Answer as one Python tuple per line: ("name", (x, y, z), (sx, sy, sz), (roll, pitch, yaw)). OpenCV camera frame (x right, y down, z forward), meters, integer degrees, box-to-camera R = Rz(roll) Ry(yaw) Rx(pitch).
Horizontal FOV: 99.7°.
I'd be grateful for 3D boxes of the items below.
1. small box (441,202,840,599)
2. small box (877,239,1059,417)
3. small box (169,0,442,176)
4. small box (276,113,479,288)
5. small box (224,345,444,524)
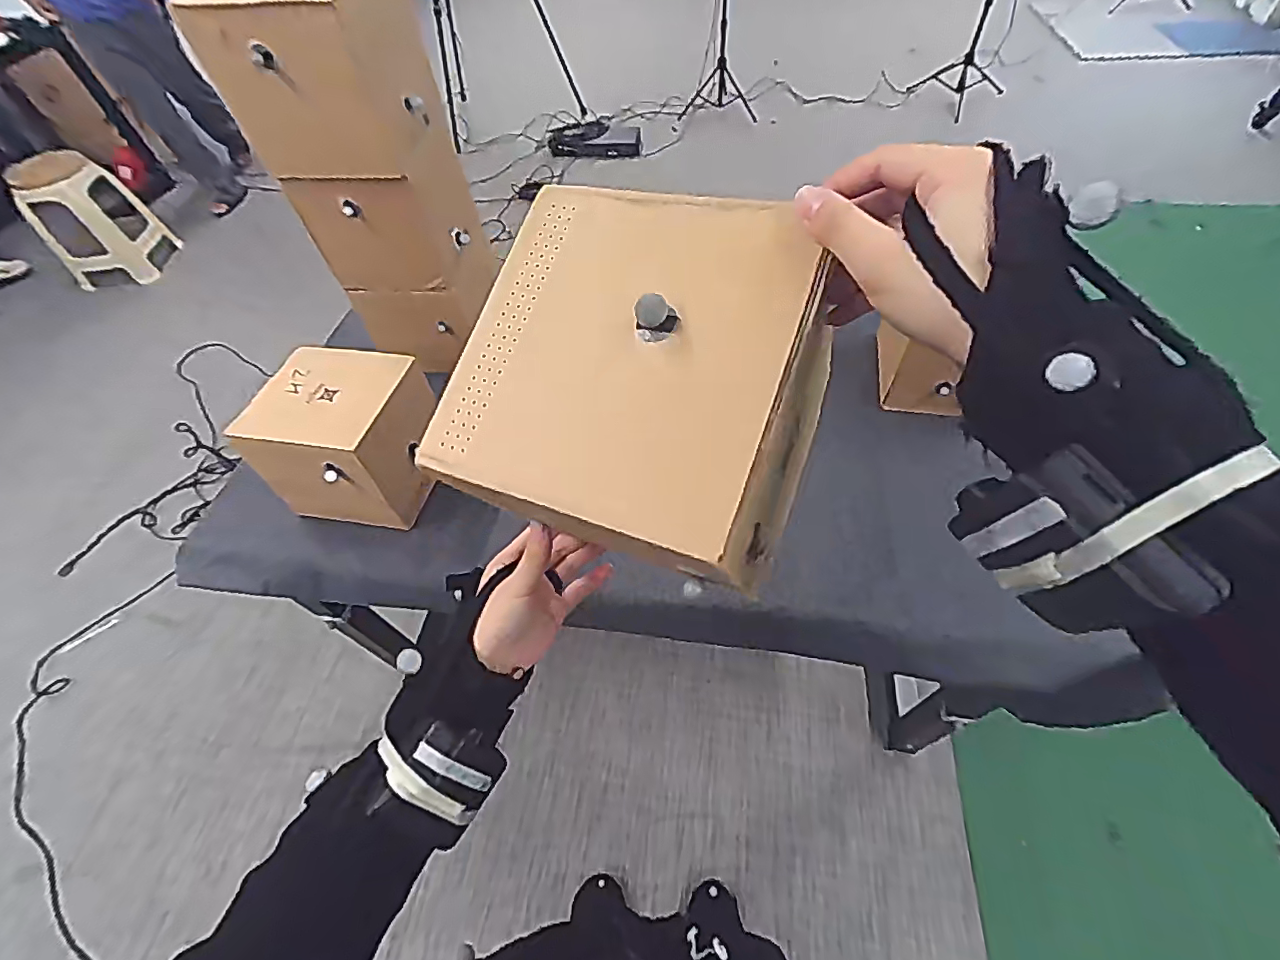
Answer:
("small box", (0.012, -0.044, 0.334), (0.176, 0.168, 0.179), (15, 78, 22))
("small box", (0.450, -0.216, 0.777), (0.168, 0.176, 0.179), (7, 57, 10))
("small box", (-0.360, -0.475, 0.625), (0.179, 0.176, 0.168), (4, 57, 6))
("small box", (-0.353, -0.391, 0.766), (0.179, 0.176, 0.168), (2, 57, 5))
("small box", (-0.384, -0.057, 0.727), (0.179, 0.176, 0.168), (7, 53, 9))
